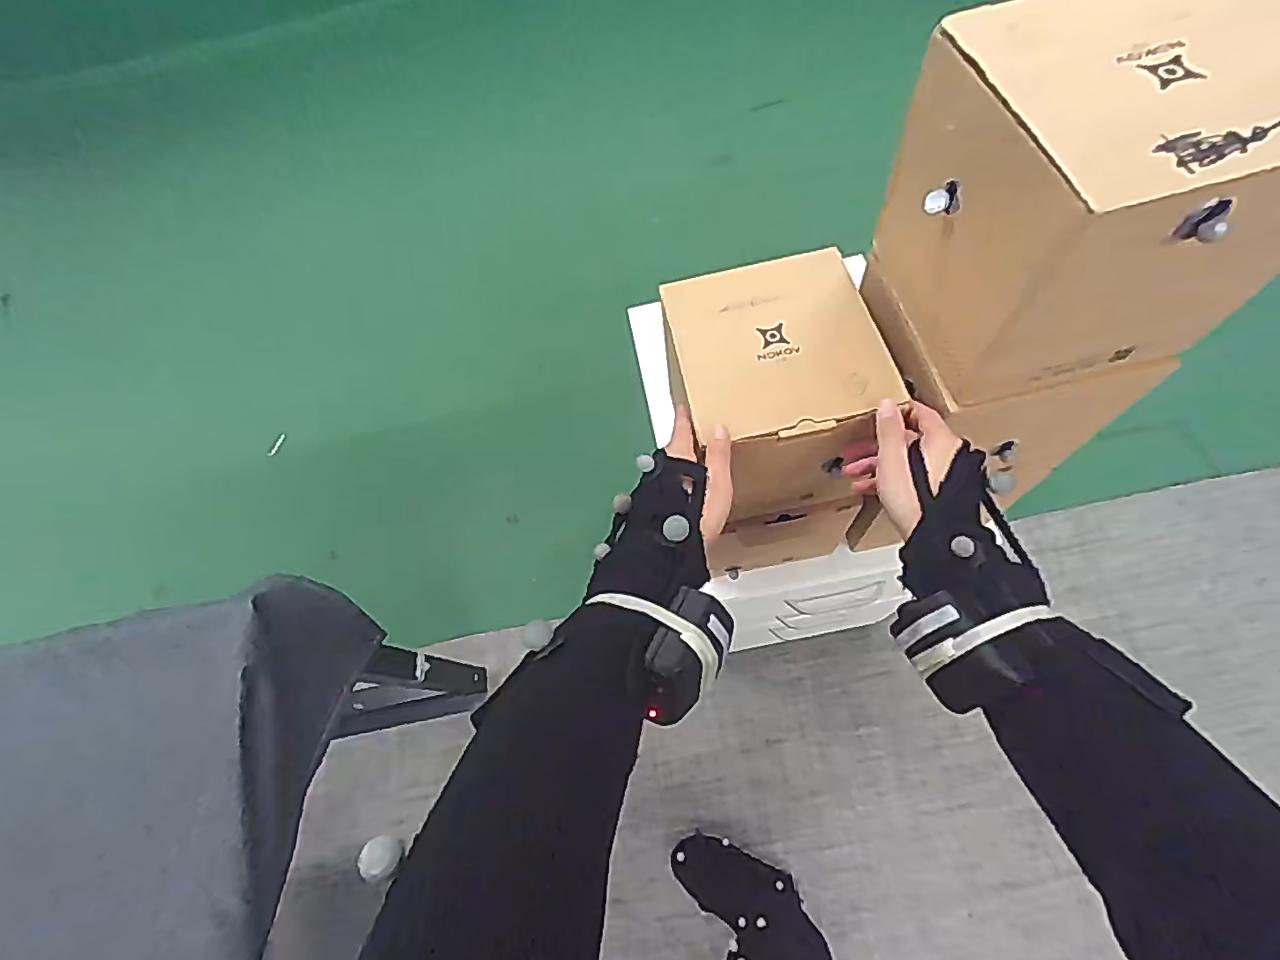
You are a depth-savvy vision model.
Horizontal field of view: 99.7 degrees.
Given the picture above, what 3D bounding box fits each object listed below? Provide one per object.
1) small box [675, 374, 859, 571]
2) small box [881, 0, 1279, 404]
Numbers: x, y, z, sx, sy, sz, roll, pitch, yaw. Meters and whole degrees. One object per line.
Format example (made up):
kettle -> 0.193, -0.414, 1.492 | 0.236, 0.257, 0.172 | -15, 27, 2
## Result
small box -> 0.142, 0.002, 0.658 | 0.168, 0.176, 0.179 | -11, 63, 1
small box -> 0.285, -0.179, 0.357 | 0.168, 0.176, 0.179 | -13, 63, 3
